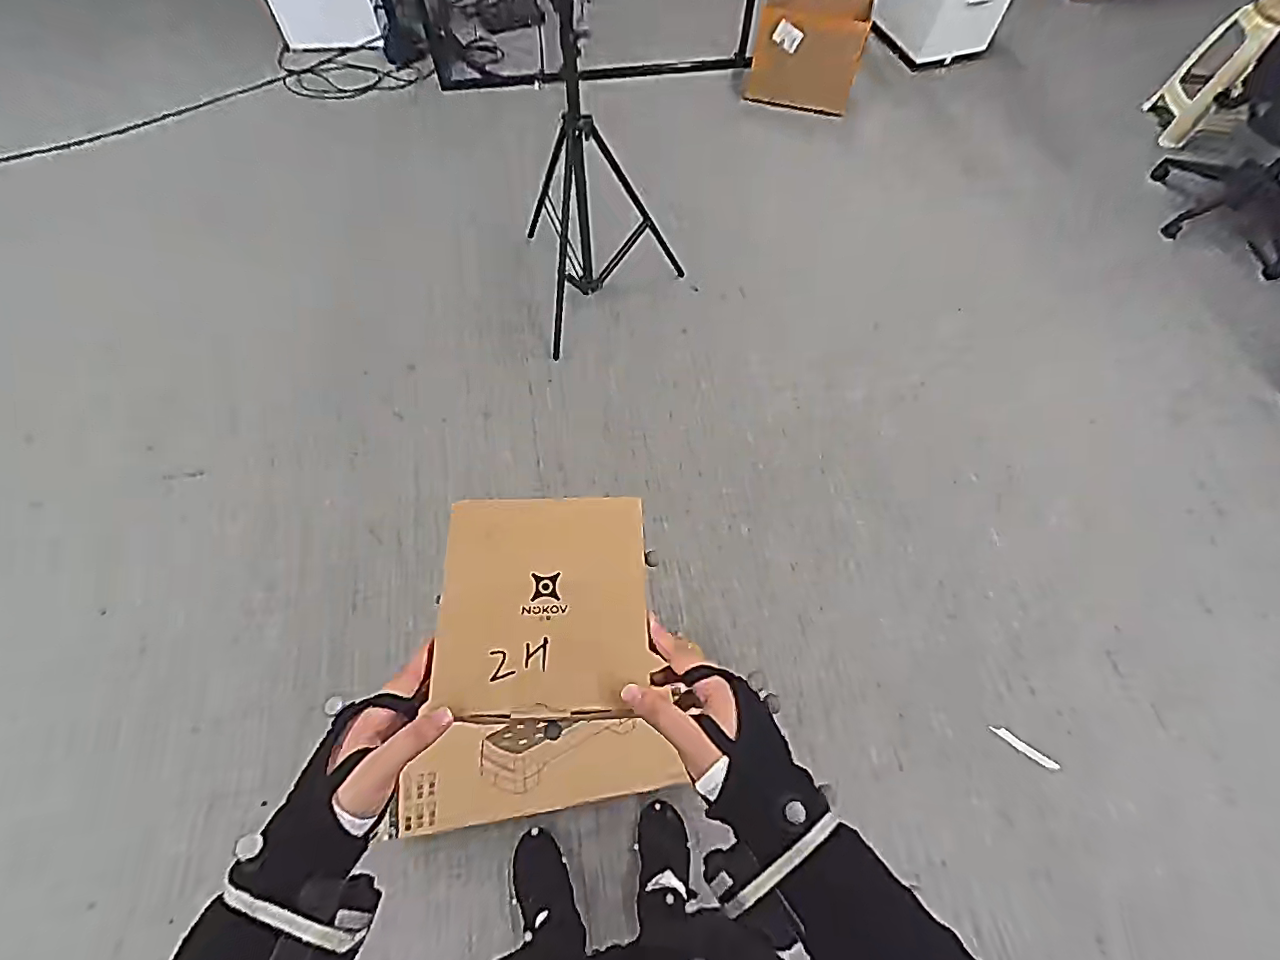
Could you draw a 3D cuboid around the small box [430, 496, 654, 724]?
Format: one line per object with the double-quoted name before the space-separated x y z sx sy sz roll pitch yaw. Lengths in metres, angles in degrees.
"small box" -0.077 0.127 0.502 0.168 0.176 0.179 -2 66 -3
